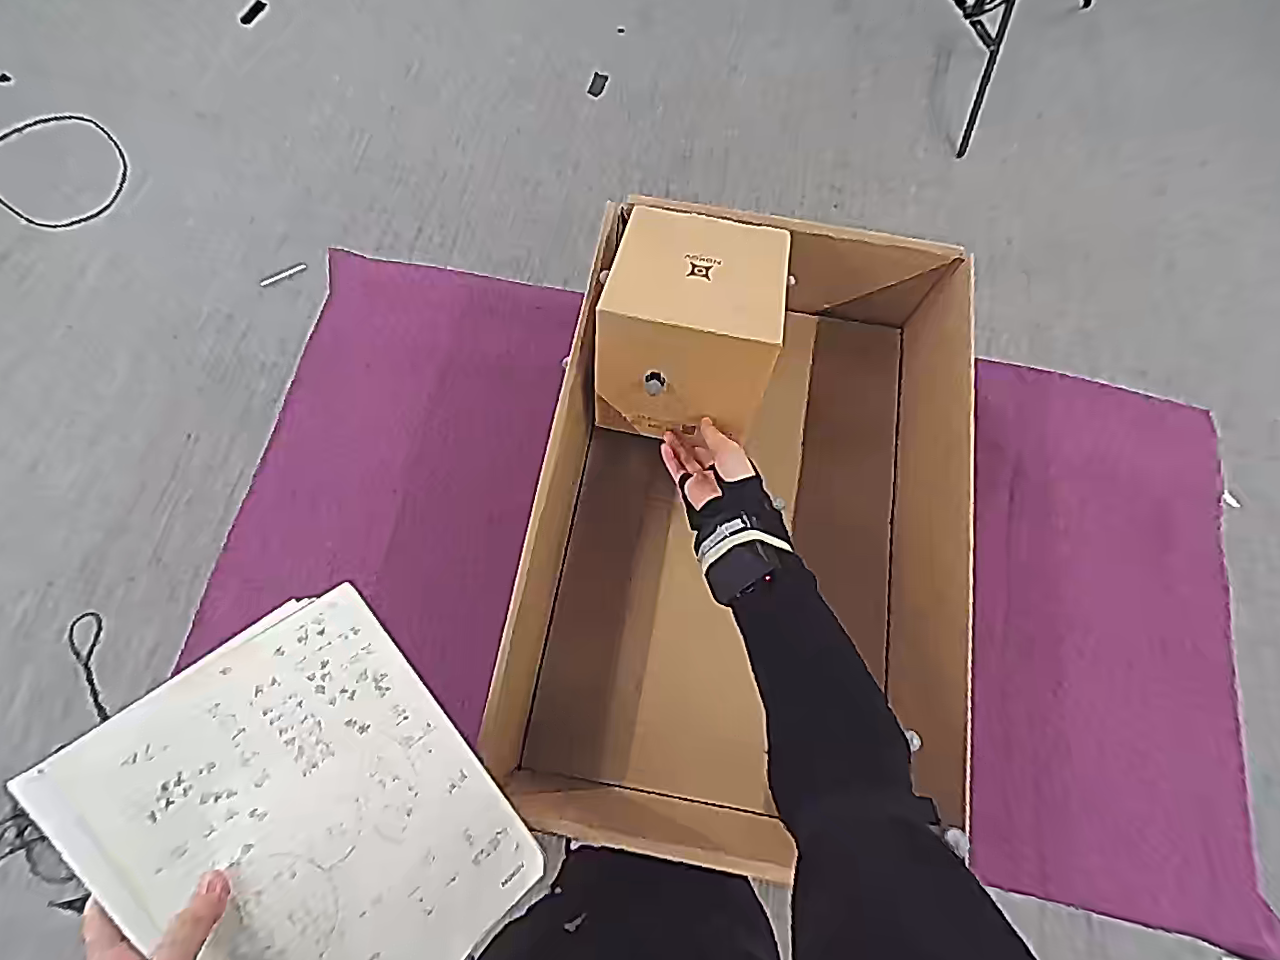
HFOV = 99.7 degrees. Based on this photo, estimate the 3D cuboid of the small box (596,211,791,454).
[{"bbox_3d":[0.054,-0.150,0.578,0.168,0.176,0.179,11,57,3],"label":"small box"}]
